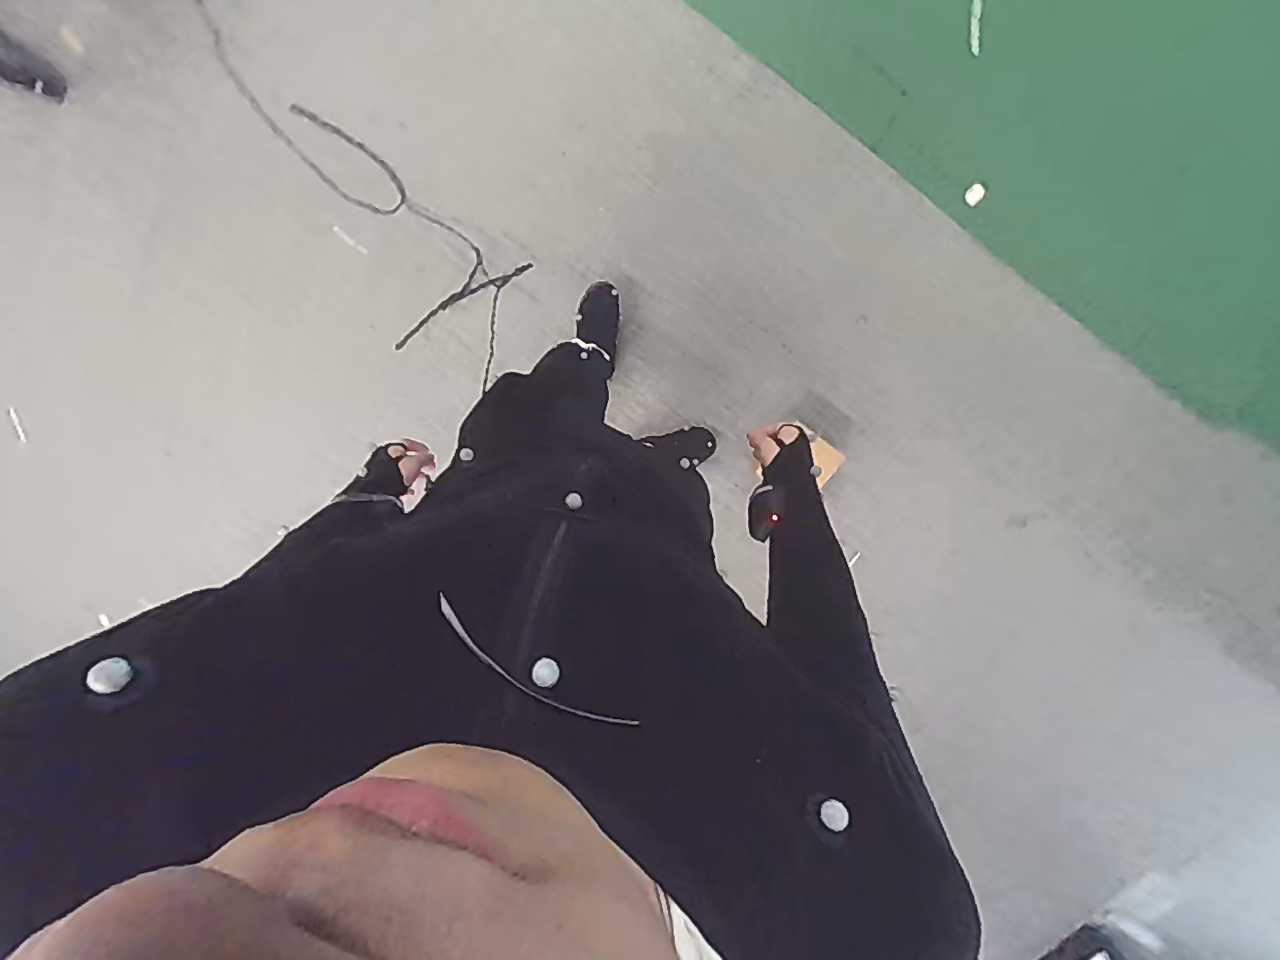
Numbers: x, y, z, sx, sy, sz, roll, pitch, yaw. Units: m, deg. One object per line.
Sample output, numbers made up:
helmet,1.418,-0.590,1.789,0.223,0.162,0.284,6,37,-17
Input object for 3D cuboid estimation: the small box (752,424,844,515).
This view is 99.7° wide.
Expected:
small box,0.423,-0.036,1.488,0.168,0.176,0.179,37,104,-2
